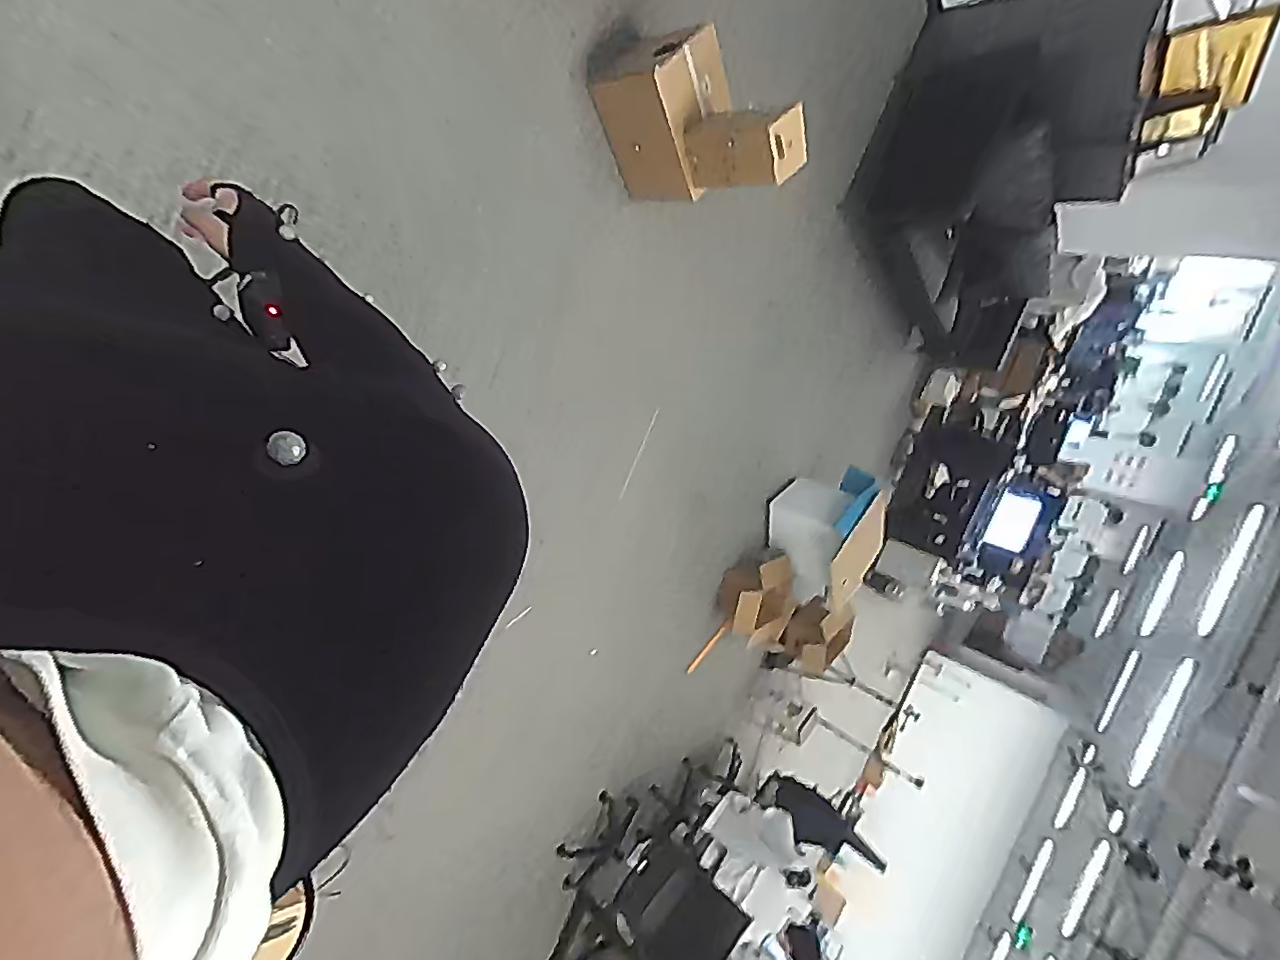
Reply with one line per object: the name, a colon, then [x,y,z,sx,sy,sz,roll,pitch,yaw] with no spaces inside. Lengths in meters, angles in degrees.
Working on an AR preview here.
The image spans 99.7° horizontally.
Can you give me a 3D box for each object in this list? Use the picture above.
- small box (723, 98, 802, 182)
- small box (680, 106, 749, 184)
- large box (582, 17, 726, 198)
small box: [0.369,-1.028,1.648,0.179,0.176,0.168,-47,138,-22]
small box: [0.258,-1.085,1.755,0.179,0.176,0.168,-46,137,-21]
large box: [0.074,-1.246,1.853,0.320,0.320,0.408,-53,139,-17]
